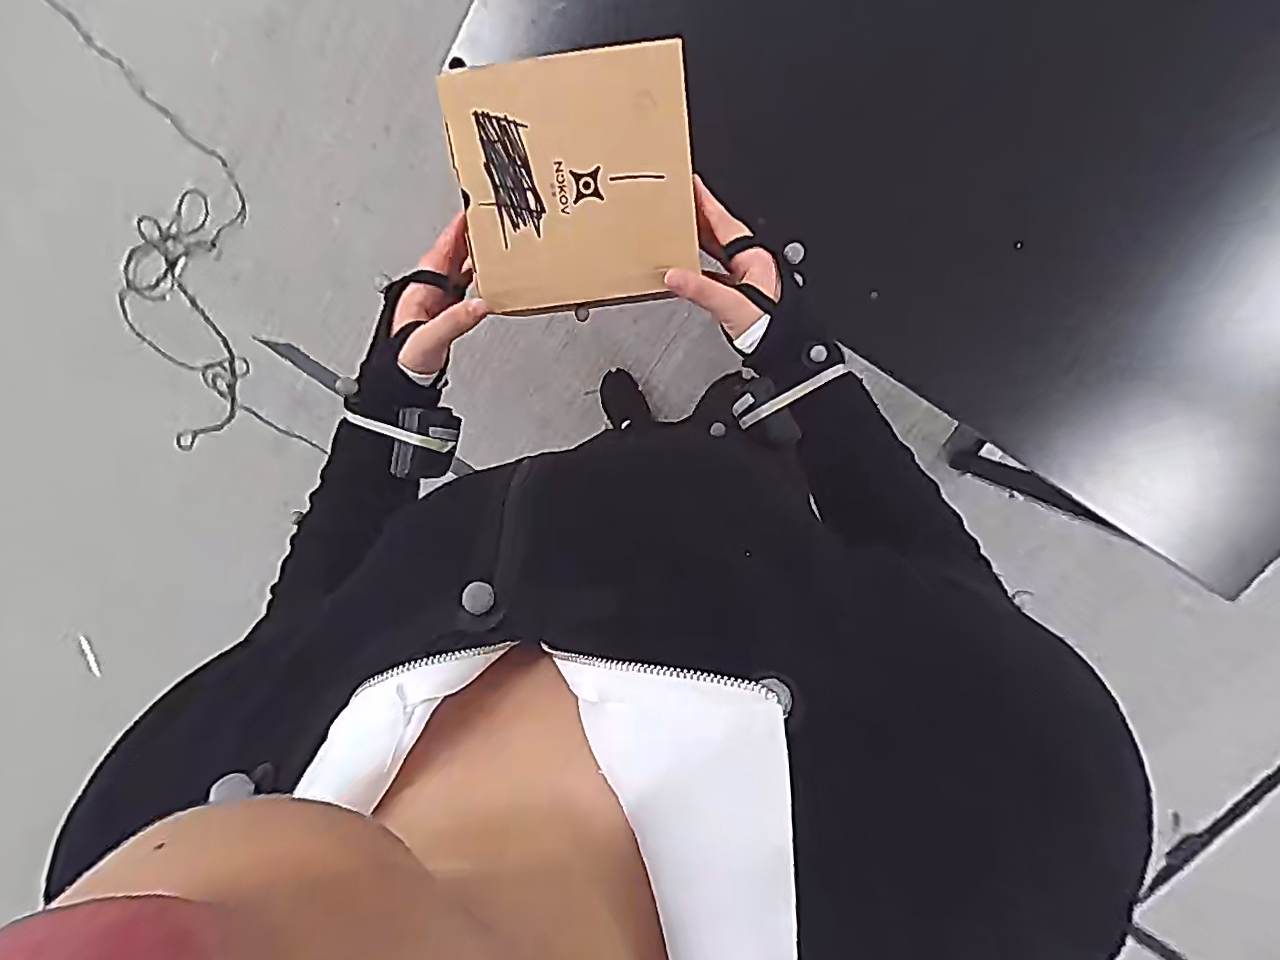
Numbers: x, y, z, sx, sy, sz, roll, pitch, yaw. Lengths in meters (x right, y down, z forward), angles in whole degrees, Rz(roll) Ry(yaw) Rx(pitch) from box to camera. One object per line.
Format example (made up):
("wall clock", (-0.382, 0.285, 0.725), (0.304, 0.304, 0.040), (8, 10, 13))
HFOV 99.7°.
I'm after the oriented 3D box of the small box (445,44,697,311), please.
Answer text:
("small box", (-0.048, -0.245, 0.482), (0.179, 0.176, 0.168), (-6, 106, 0))
